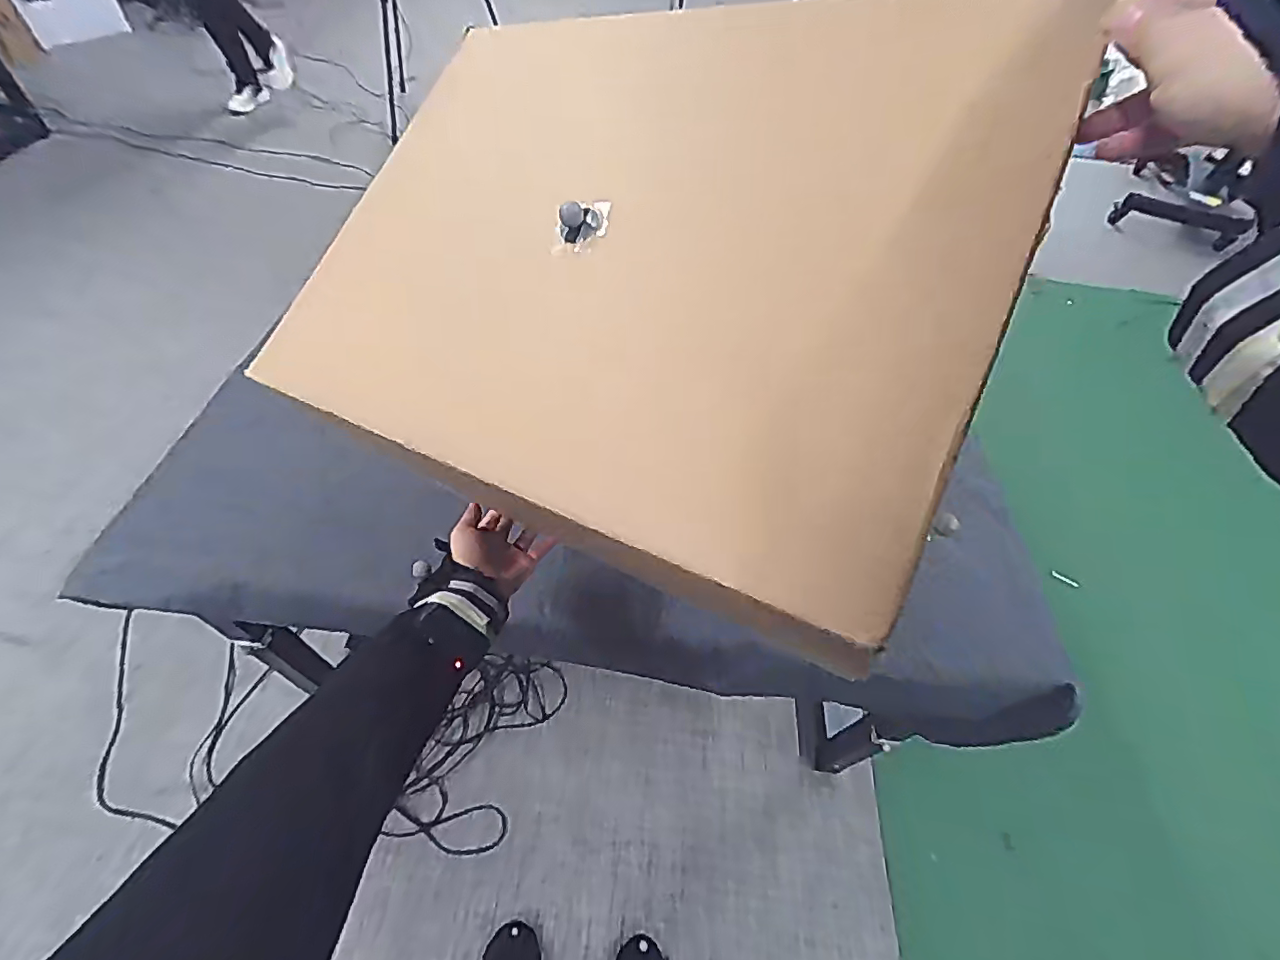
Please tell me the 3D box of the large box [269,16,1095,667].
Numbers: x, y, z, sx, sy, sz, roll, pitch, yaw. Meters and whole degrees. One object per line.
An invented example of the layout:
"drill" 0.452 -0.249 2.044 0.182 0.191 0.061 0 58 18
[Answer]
"large box" 0.027 -0.083 0.430 0.408 0.320 0.320 19 77 25
